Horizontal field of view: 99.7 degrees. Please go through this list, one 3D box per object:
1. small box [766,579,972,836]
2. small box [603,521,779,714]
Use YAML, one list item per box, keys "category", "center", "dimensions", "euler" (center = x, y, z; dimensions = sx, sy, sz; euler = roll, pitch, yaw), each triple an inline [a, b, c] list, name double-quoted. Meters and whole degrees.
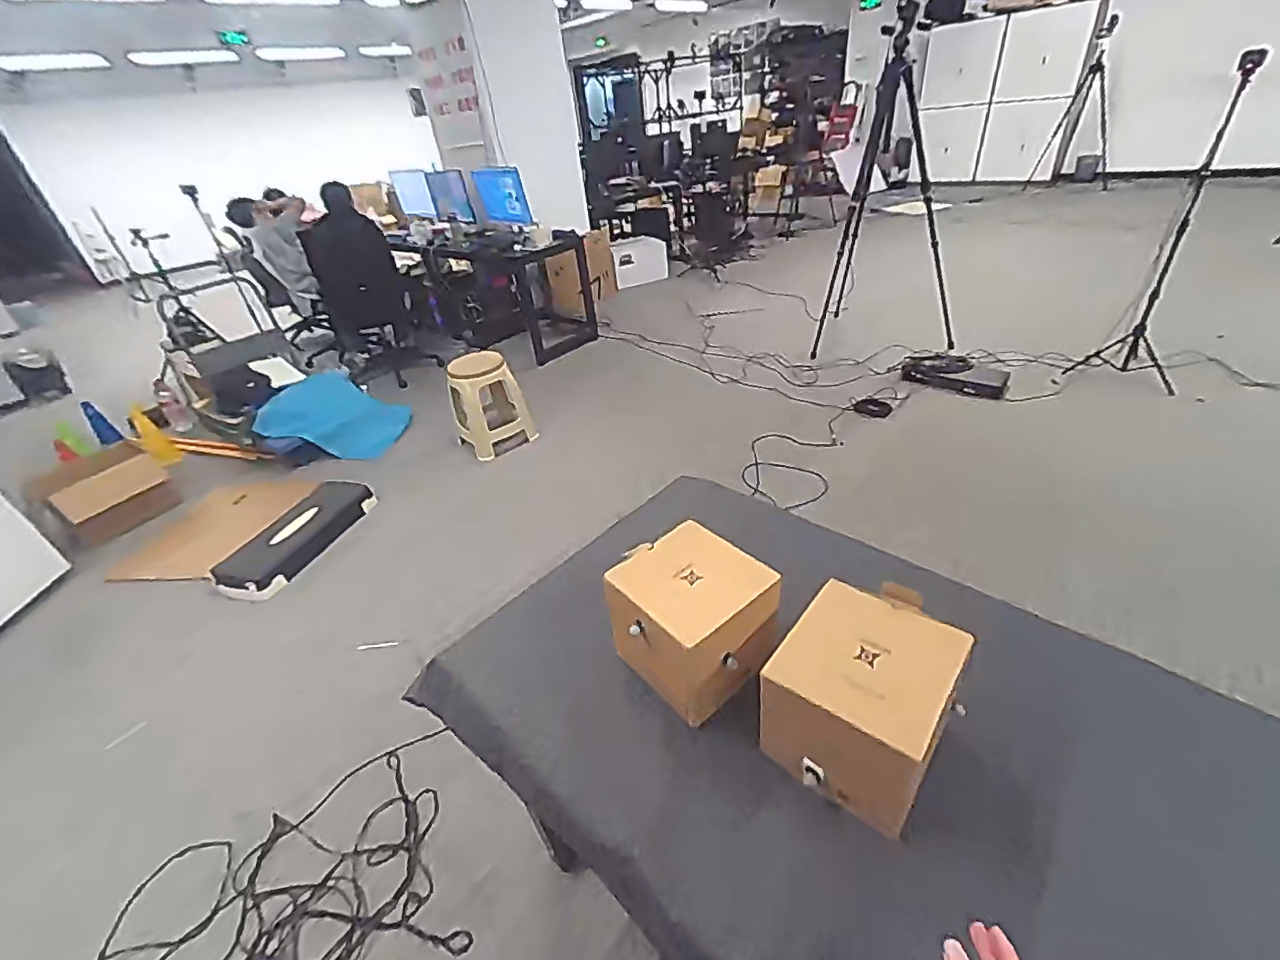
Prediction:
- category: "small box"
  center: [0.256, 0.255, 0.629]
  dimensions: [0.168, 0.176, 0.179]
  euler: [20, 42, 36]
- category: "small box"
  center: [0.073, 0.193, 0.755]
  dimensions: [0.168, 0.176, 0.179]
  euler: [-29, 39, -29]
